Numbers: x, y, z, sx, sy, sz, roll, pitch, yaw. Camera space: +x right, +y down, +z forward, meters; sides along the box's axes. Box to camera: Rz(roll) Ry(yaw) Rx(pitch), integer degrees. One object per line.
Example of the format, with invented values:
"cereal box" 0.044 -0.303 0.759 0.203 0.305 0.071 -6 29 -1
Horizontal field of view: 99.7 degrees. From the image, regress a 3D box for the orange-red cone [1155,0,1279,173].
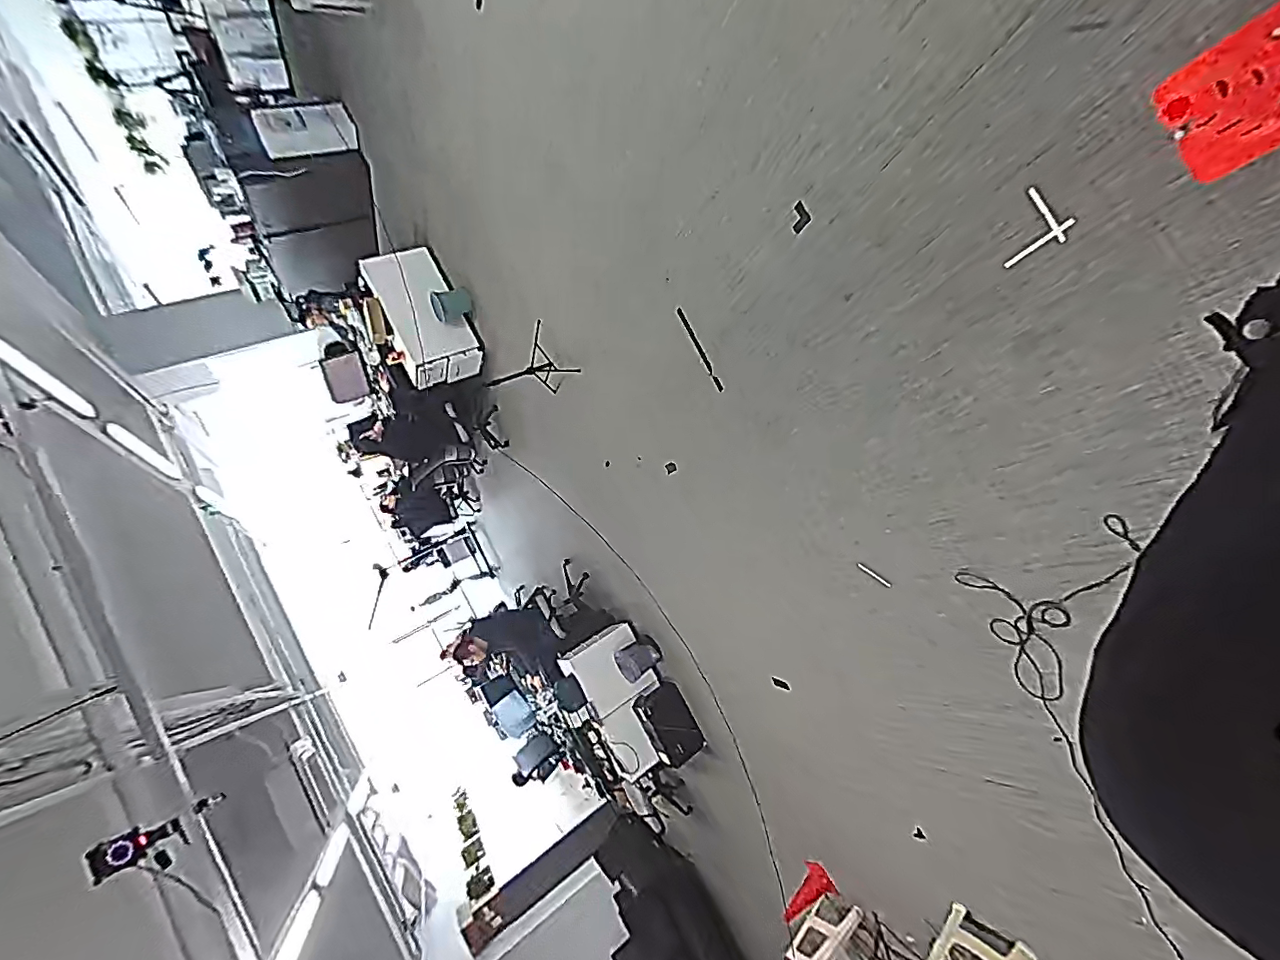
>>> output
"orange-red cone" 0.858 -0.575 0.803 0.198 0.360 0.199 65 155 0
